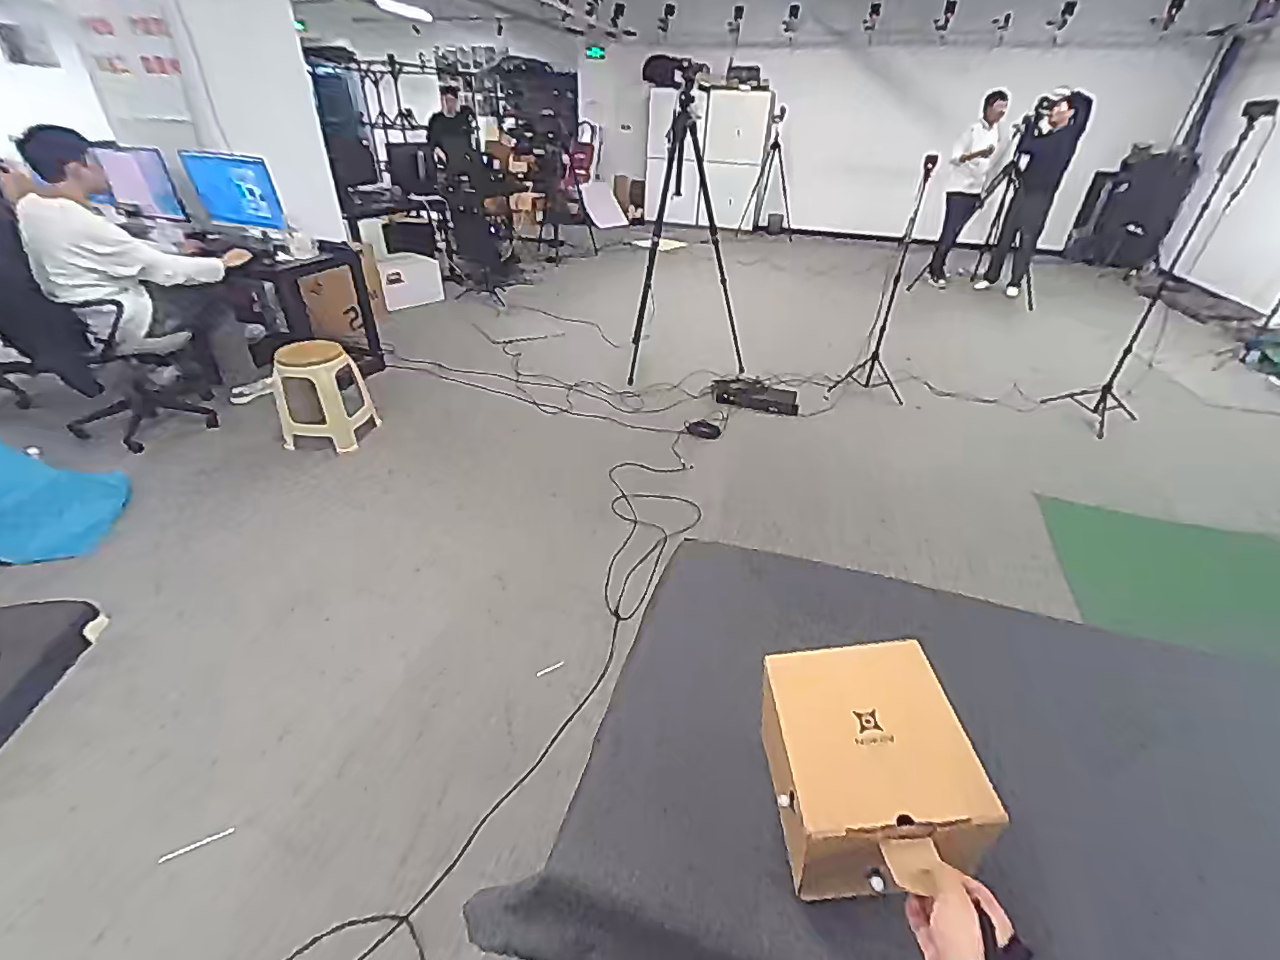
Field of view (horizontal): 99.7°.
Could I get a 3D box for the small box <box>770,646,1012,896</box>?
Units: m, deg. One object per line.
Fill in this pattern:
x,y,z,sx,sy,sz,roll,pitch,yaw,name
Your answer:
0.236,0.302,0.569,0.168,0.176,0.179,-6,38,2,small box
